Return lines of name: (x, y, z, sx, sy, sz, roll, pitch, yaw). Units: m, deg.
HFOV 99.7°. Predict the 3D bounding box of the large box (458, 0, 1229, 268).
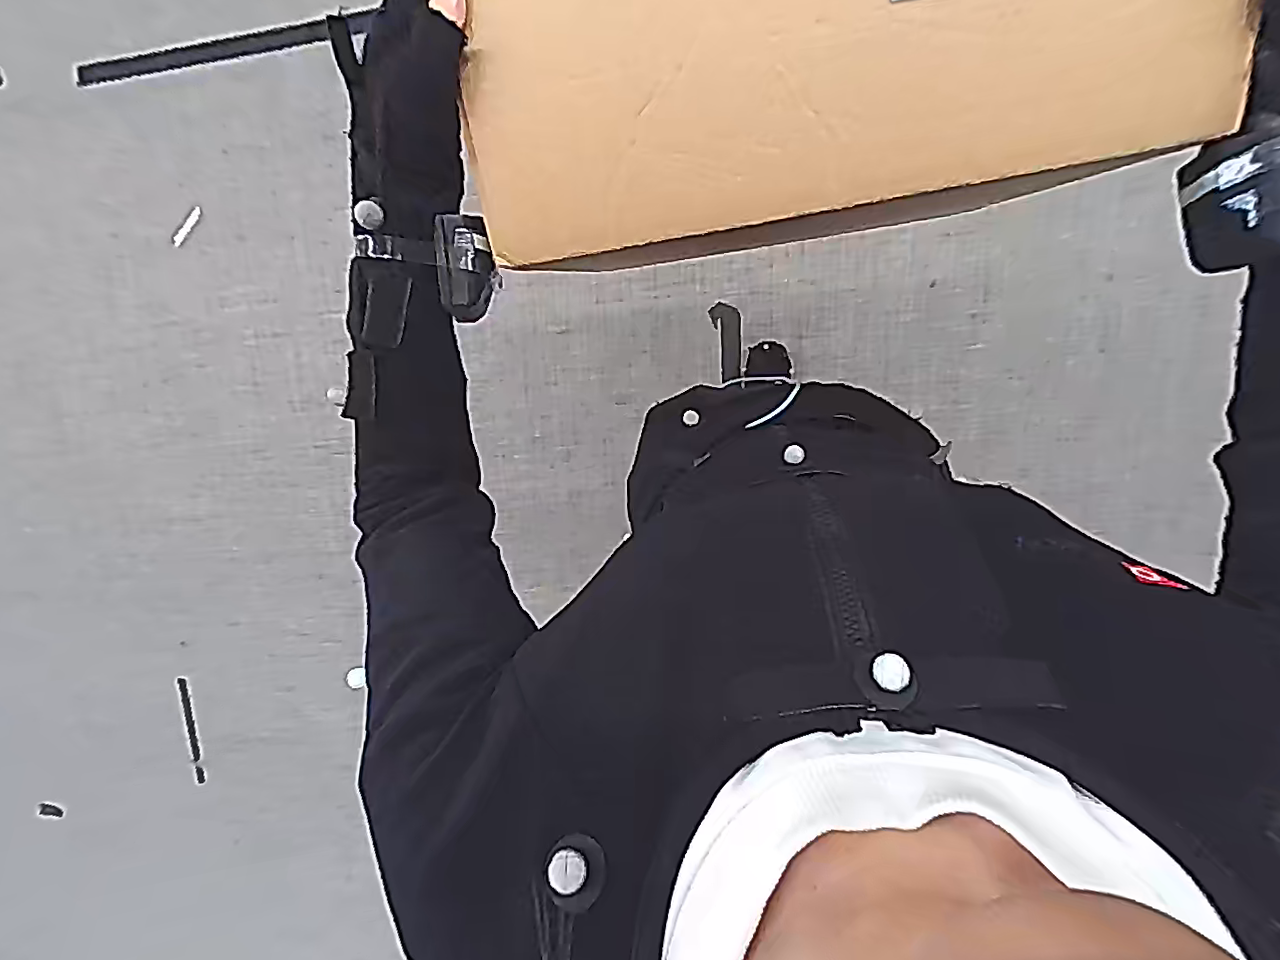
large box: (0.104, -0.364, 0.414, 0.408, 0.320, 0.320, -6, 110, 11)
